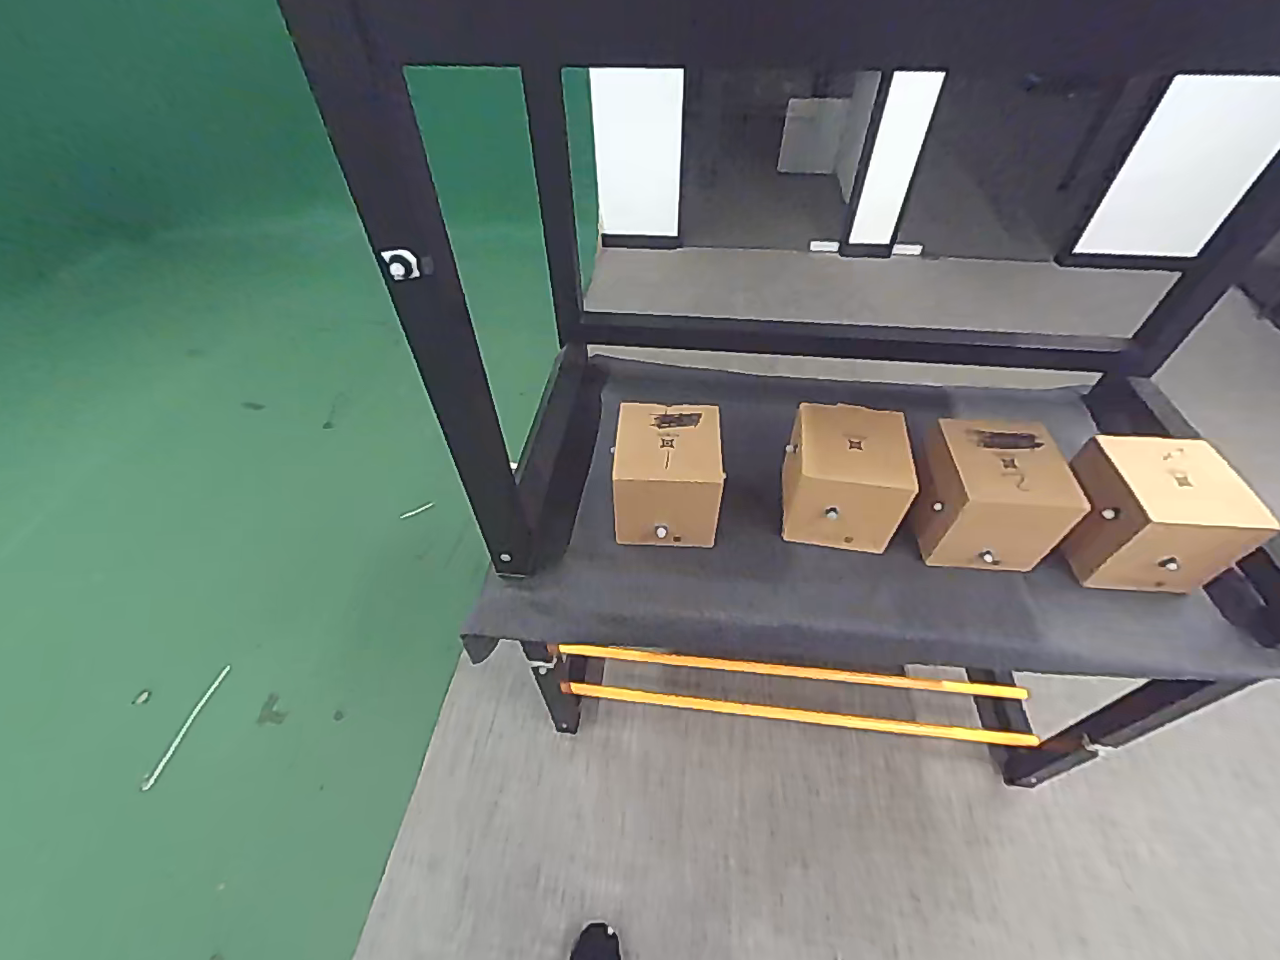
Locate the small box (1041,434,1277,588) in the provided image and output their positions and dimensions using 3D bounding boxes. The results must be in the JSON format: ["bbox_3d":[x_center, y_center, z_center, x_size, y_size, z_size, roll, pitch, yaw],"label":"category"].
[{"bbox_3d":[0.778,0.050,0.839,0.168,0.176,0.179,4,48,4],"label":"small box"}]

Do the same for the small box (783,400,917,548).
[{"bbox_3d":[0.338,-0.007,0.902,0.168,0.176,0.179,7,49,7],"label":"small box"}]

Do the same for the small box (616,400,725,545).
[{"bbox_3d":[0.049,-0.013,0.908,0.168,0.176,0.179,2,49,2],"label":"small box"}]
